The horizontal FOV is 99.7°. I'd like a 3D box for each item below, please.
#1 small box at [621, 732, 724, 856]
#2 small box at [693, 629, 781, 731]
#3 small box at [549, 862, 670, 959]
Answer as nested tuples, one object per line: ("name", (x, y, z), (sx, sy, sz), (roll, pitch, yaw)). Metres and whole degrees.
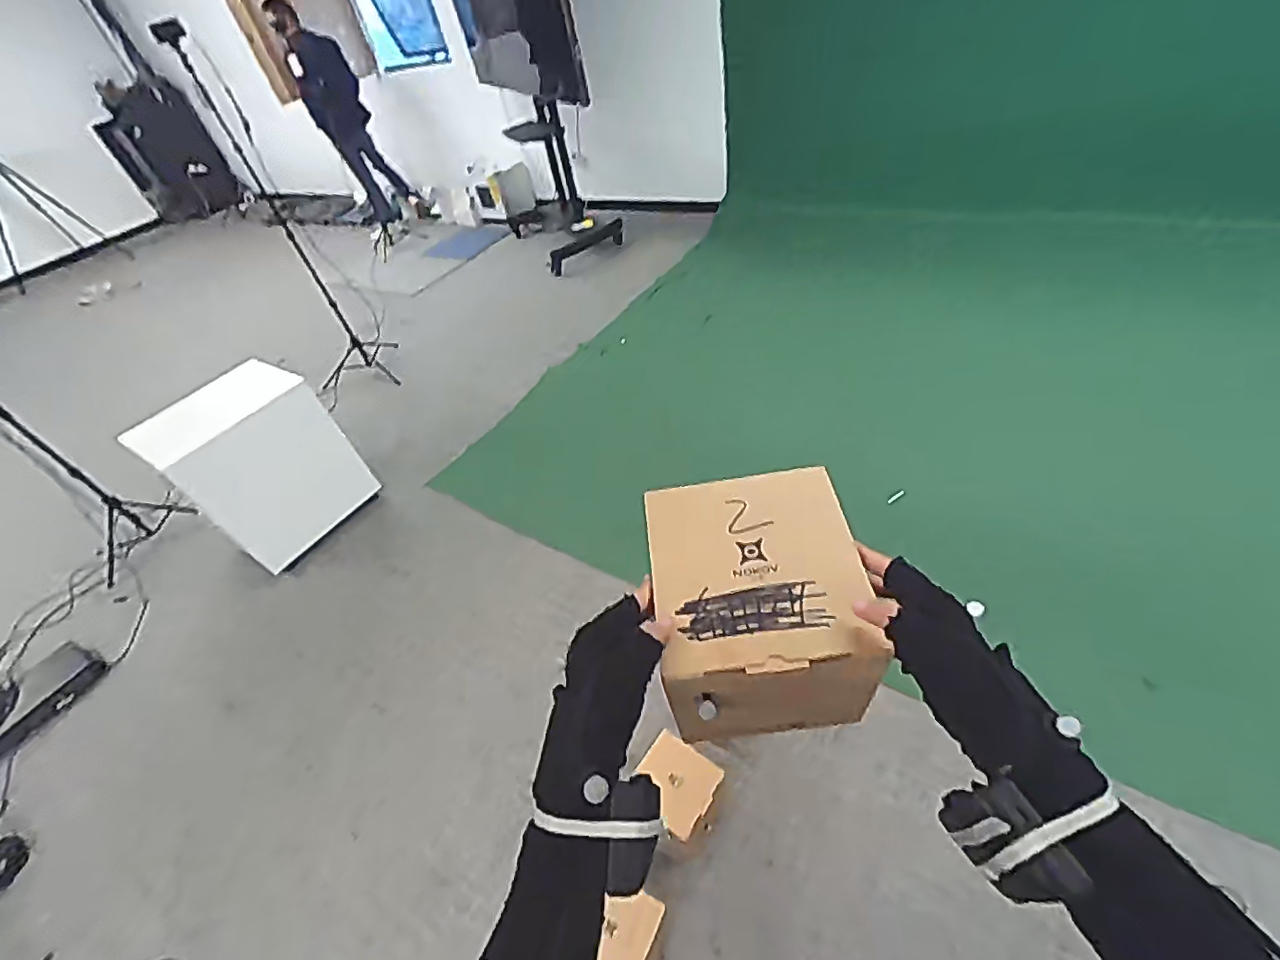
("small box", (0.082, 0.740, 1.269), (0.179, 0.176, 0.168), (24, 54, 31))
("small box", (0.263, 0.537, 1.438), (0.179, 0.176, 0.168), (18, 51, 29))
("small box", (-0.054, 0.928, 1.104), (0.179, 0.176, 0.168), (16, 52, 25))
